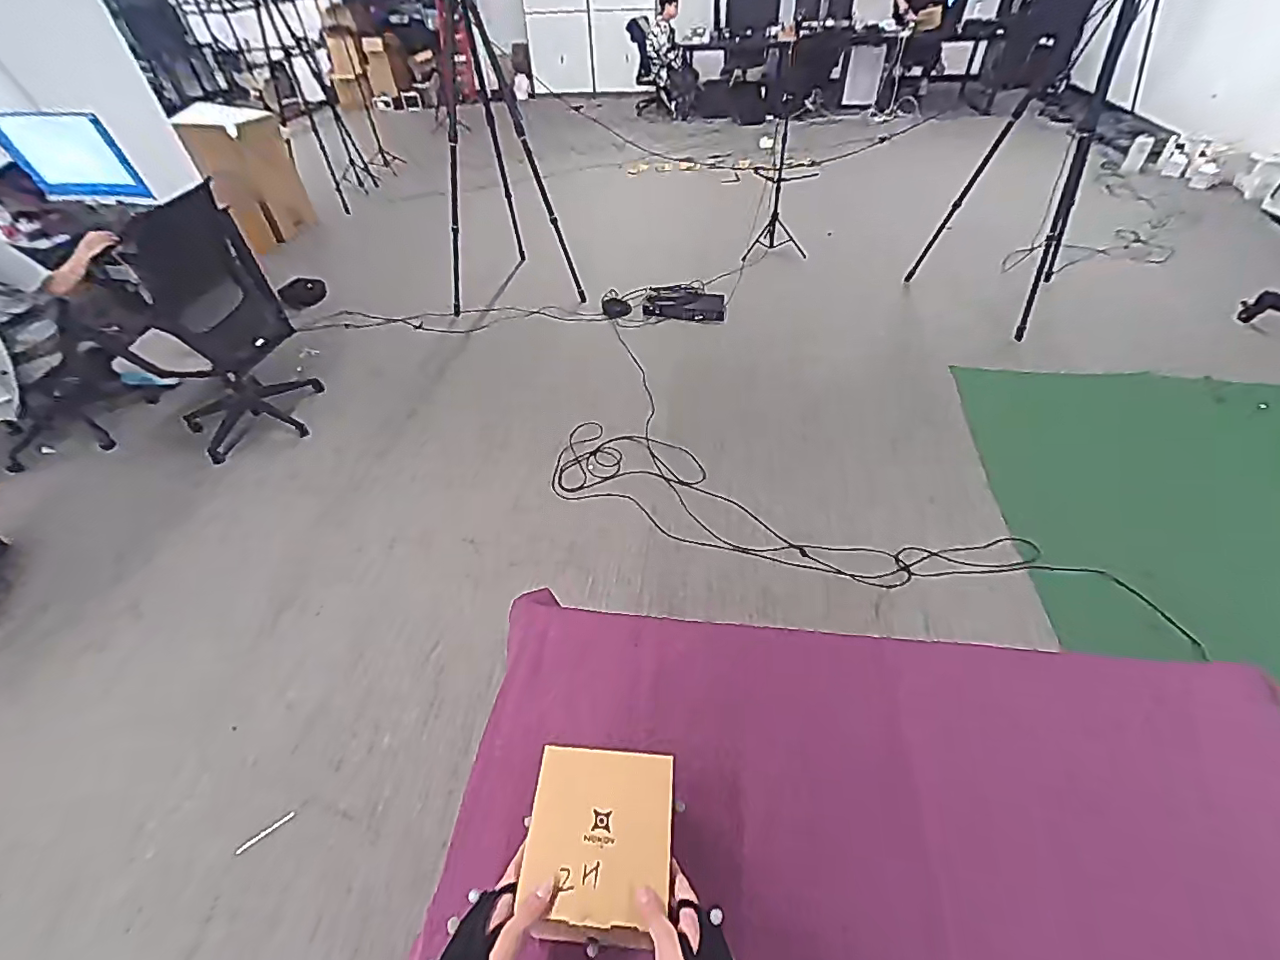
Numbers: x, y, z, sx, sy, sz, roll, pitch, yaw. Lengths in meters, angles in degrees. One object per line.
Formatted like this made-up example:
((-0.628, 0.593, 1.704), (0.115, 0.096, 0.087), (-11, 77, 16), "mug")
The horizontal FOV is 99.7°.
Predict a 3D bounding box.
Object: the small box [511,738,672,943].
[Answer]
((-0.050, 0.453, 0.682), (0.168, 0.176, 0.179), (3, 45, 4), "small box")
